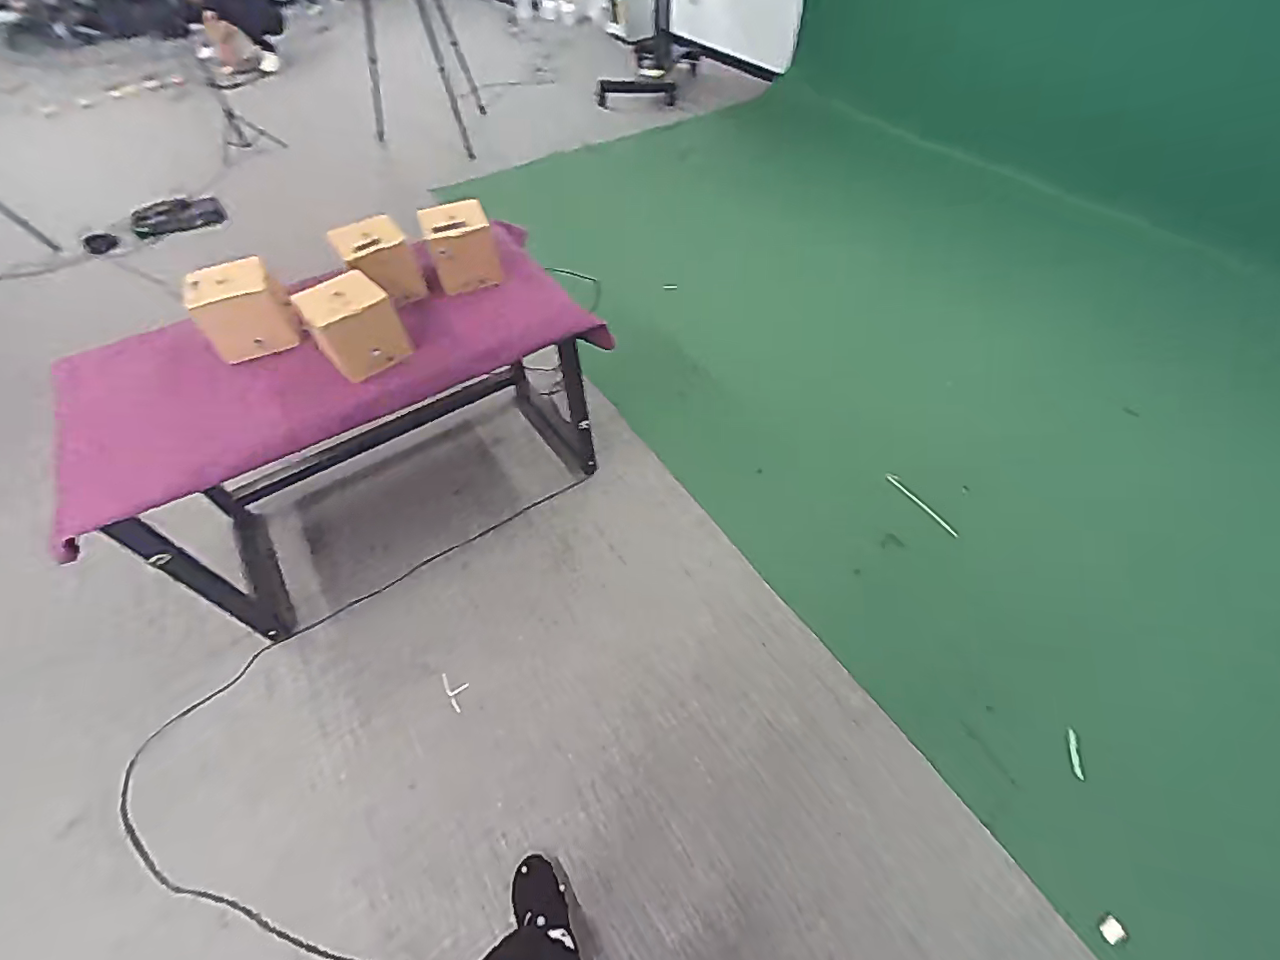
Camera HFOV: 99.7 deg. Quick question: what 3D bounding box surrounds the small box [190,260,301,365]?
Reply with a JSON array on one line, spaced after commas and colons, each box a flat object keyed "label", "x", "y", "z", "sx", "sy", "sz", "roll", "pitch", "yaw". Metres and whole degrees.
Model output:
[{"label": "small box", "x": -0.986, "y": -0.421, "z": 1.367, "sx": 0.179, "sy": 0.176, "sz": 0.168, "roll": -21, "pitch": 55, "yaw": -14}]

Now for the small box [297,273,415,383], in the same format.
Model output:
[{"label": "small box", "x": -0.683, "y": -0.366, "z": 1.313, "sx": 0.168, "sy": 0.176, "sz": 0.179, "roll": -36, "pitch": 58, "yaw": -23}]
